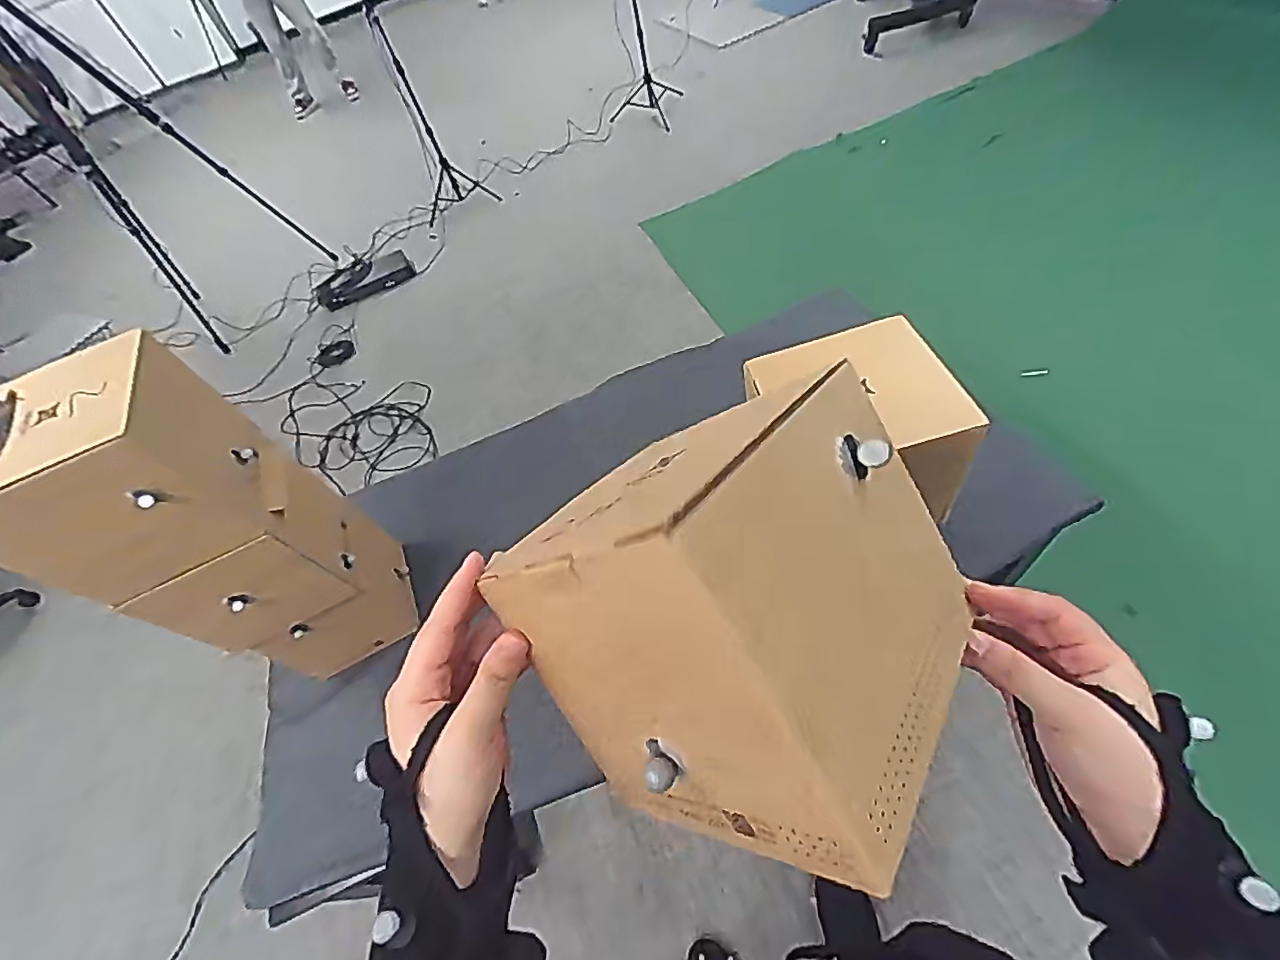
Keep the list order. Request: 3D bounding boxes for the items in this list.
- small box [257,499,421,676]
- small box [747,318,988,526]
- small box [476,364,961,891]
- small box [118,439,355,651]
[{"bbox_3d":[-0.462,0.167,0.825,0.168,0.176,0.179,-28,54,-6],"label":"small box"},{"bbox_3d":[0.226,-0.038,0.588,0.179,0.176,0.168,-17,52,4],"label":"small box"},{"bbox_3d":[0.050,0.066,0.303,0.168,0.176,0.179,-20,16,50],"label":"small box"},{"bbox_3d":[-0.487,0.087,0.683,0.179,0.176,0.168,-28,55,-5],"label":"small box"}]
